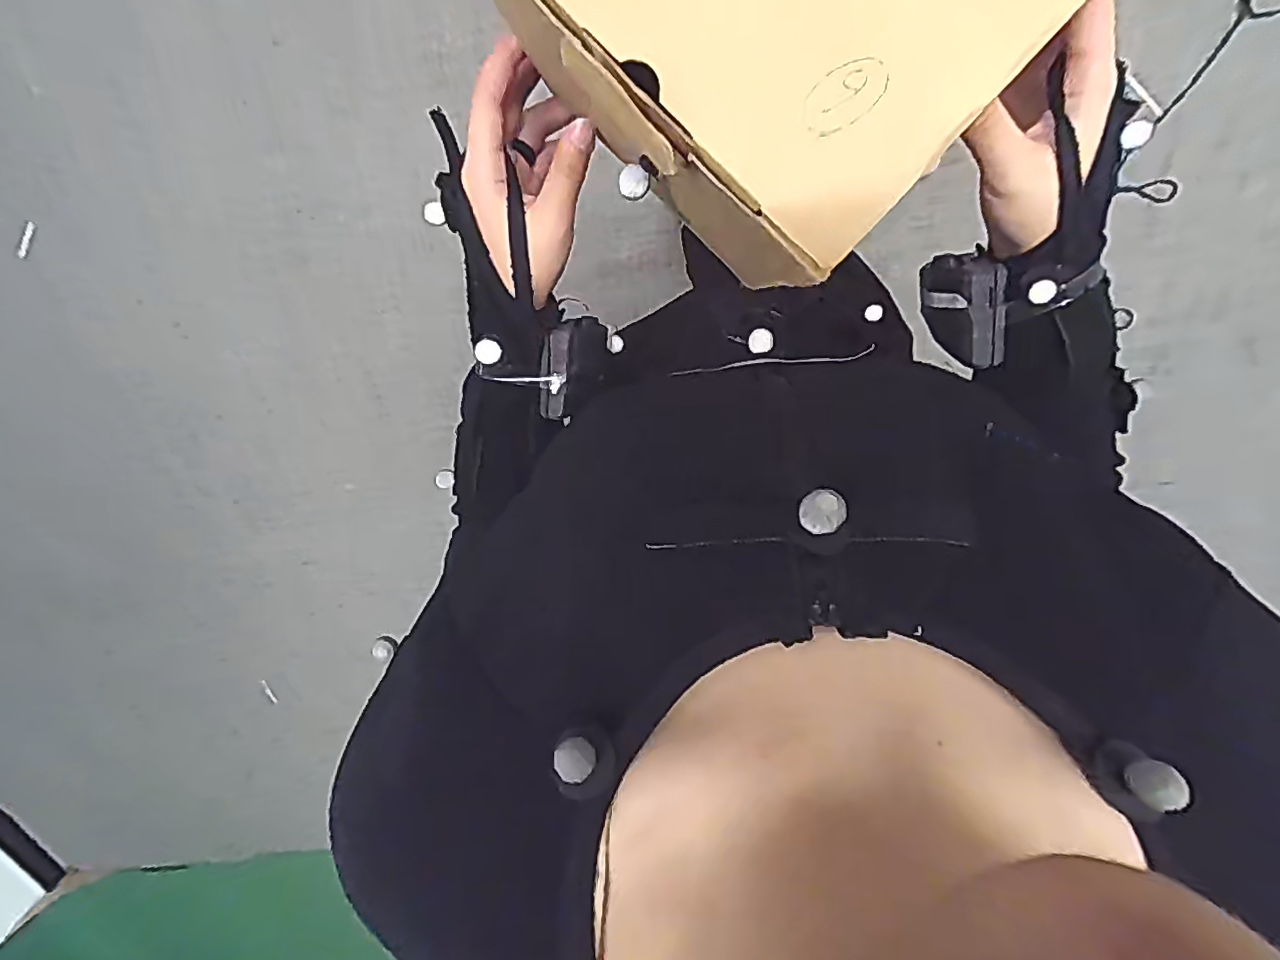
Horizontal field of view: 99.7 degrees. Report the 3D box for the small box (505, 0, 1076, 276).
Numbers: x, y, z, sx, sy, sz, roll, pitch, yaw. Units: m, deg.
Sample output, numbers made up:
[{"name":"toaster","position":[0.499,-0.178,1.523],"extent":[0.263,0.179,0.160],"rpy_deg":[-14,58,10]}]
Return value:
[{"name":"small box","position":[0.063,-0.207,0.229],"extent":[0.168,0.176,0.179],"rpy_deg":[40,107,-9]}]
